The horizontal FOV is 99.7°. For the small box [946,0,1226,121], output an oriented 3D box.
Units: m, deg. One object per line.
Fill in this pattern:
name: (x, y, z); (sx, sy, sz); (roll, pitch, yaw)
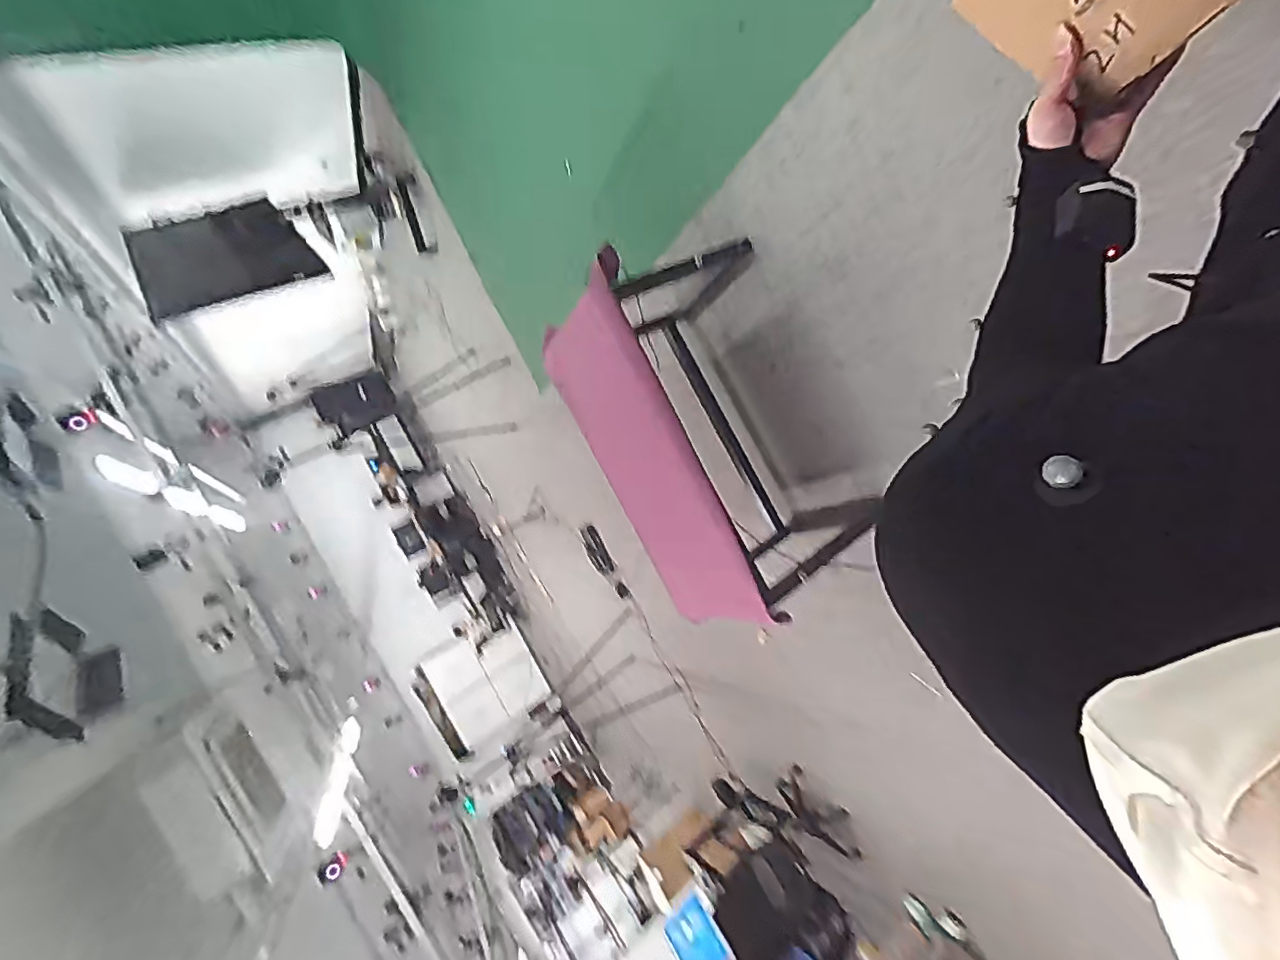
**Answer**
small box: (0.414, -0.467, 0.449); (0.179, 0.176, 0.168); (40, -177, 1)
